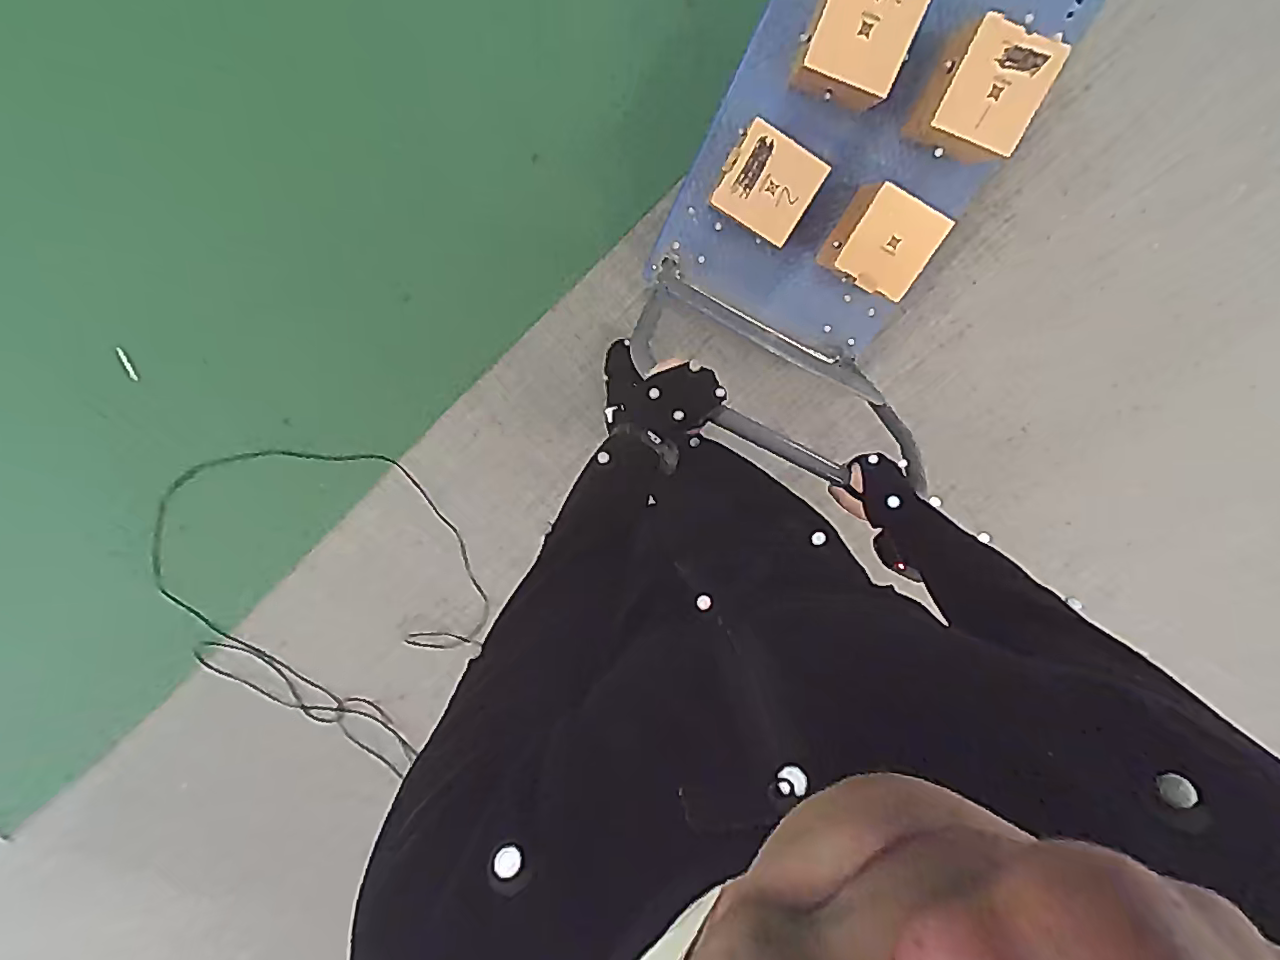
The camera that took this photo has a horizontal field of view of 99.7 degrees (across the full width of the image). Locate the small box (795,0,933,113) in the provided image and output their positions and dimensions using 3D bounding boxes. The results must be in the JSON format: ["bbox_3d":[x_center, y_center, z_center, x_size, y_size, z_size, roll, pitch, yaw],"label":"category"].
[{"bbox_3d":[0.404,-0.819,1.009,0.168,0.176,0.179,19,116,-5],"label":"small box"}]

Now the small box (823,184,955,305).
[{"bbox_3d":[0.516,-0.504,1.155,0.168,0.176,0.179,26,116,-8],"label":"small box"}]

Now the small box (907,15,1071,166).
[{"bbox_3d":[0.647,-0.727,1.033,0.168,0.176,0.179,20,117,-4],"label":"small box"}]
